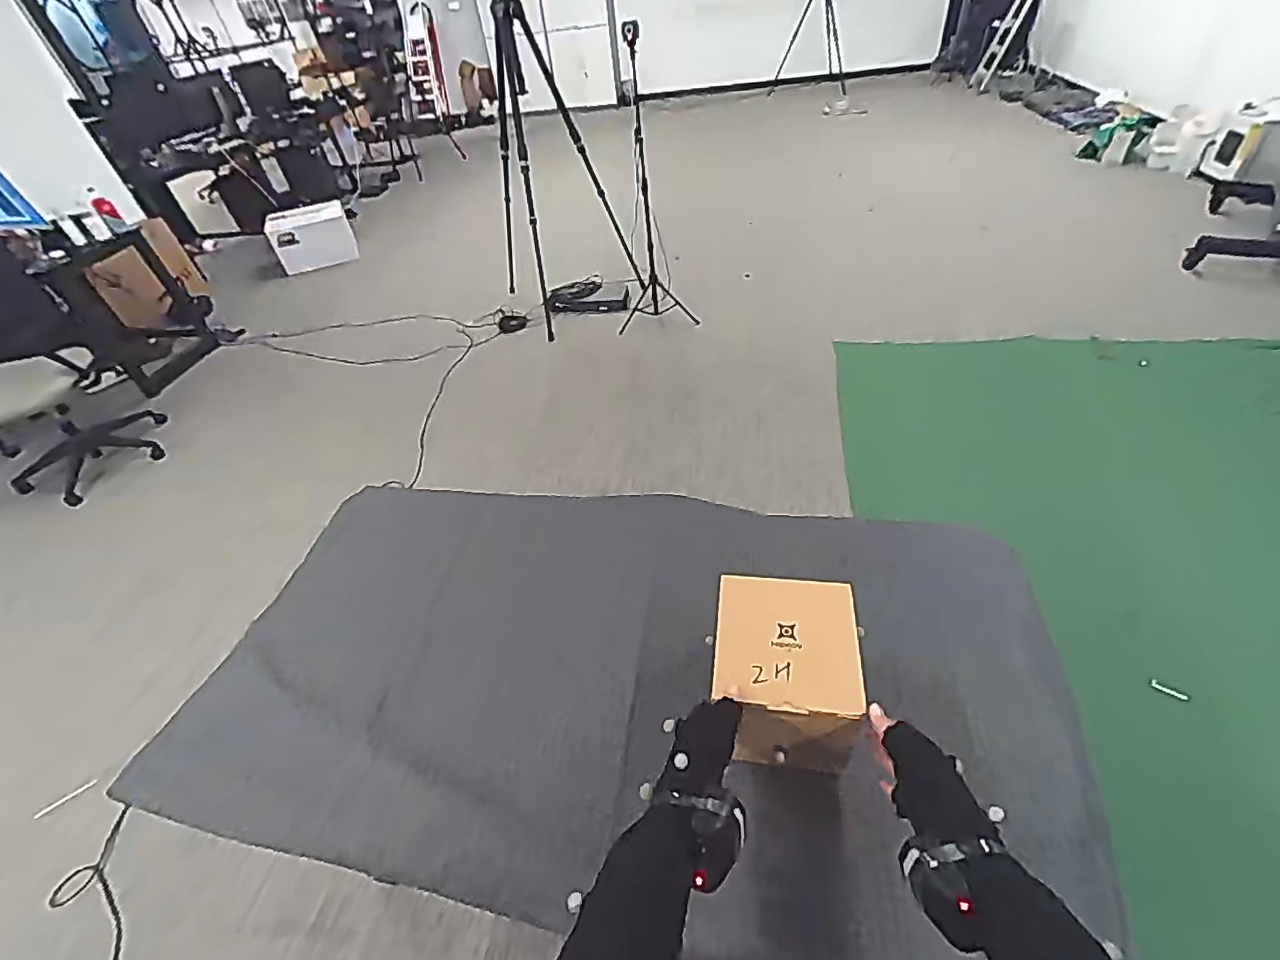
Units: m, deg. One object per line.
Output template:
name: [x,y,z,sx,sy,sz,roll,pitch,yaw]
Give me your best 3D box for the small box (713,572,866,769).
small box: [0.184,0.244,0.702,0.168,0.176,0.179,2,44,12]
